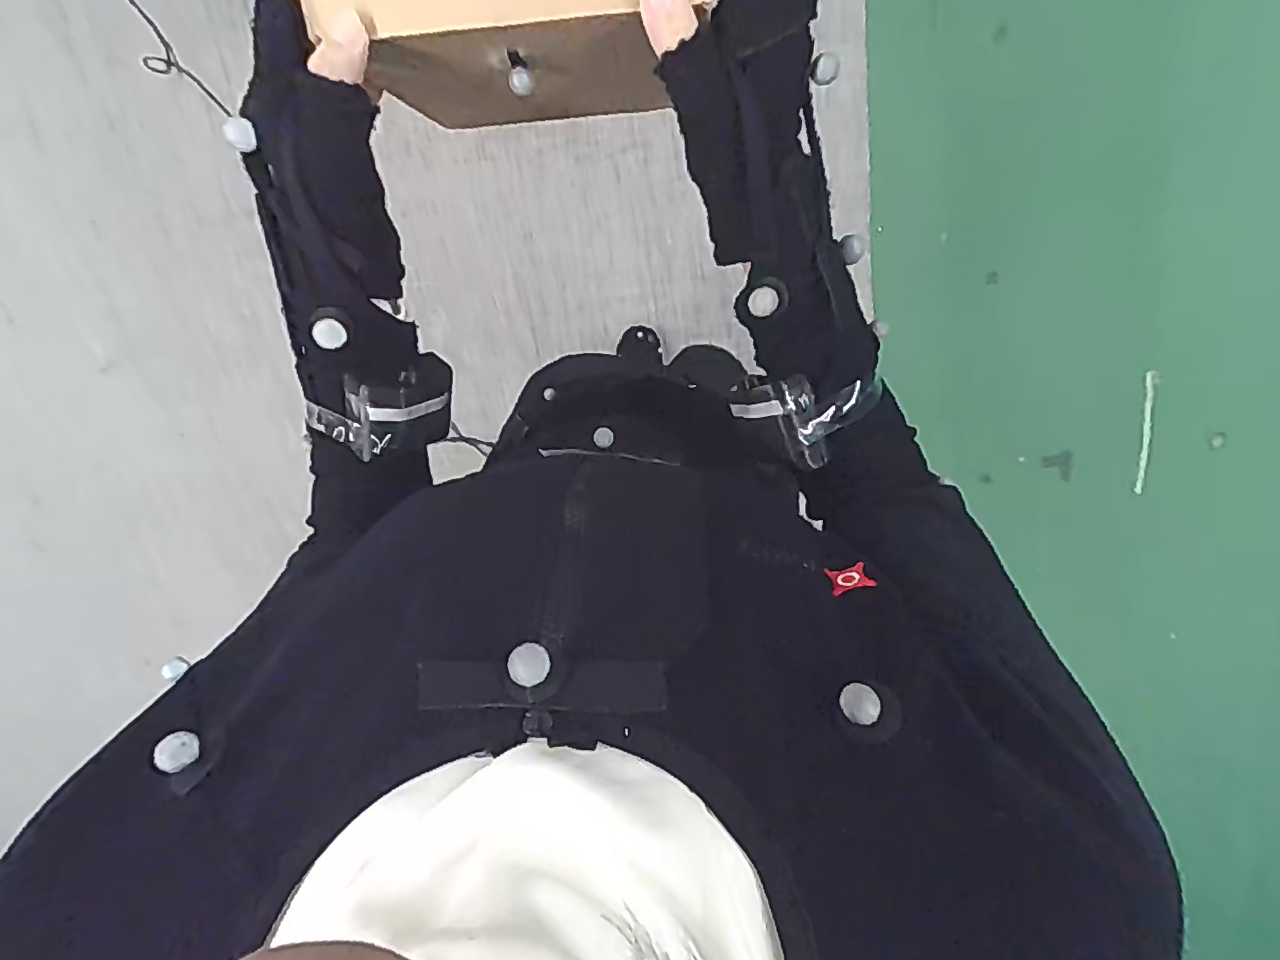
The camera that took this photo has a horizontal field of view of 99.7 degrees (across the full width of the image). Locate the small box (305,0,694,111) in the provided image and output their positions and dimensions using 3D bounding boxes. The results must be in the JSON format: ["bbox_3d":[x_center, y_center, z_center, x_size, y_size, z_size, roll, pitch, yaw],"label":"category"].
[{"bbox_3d":[-0.061,-0.309,0.276,0.179,0.176,0.168,-3,112,3],"label":"small box"}]
